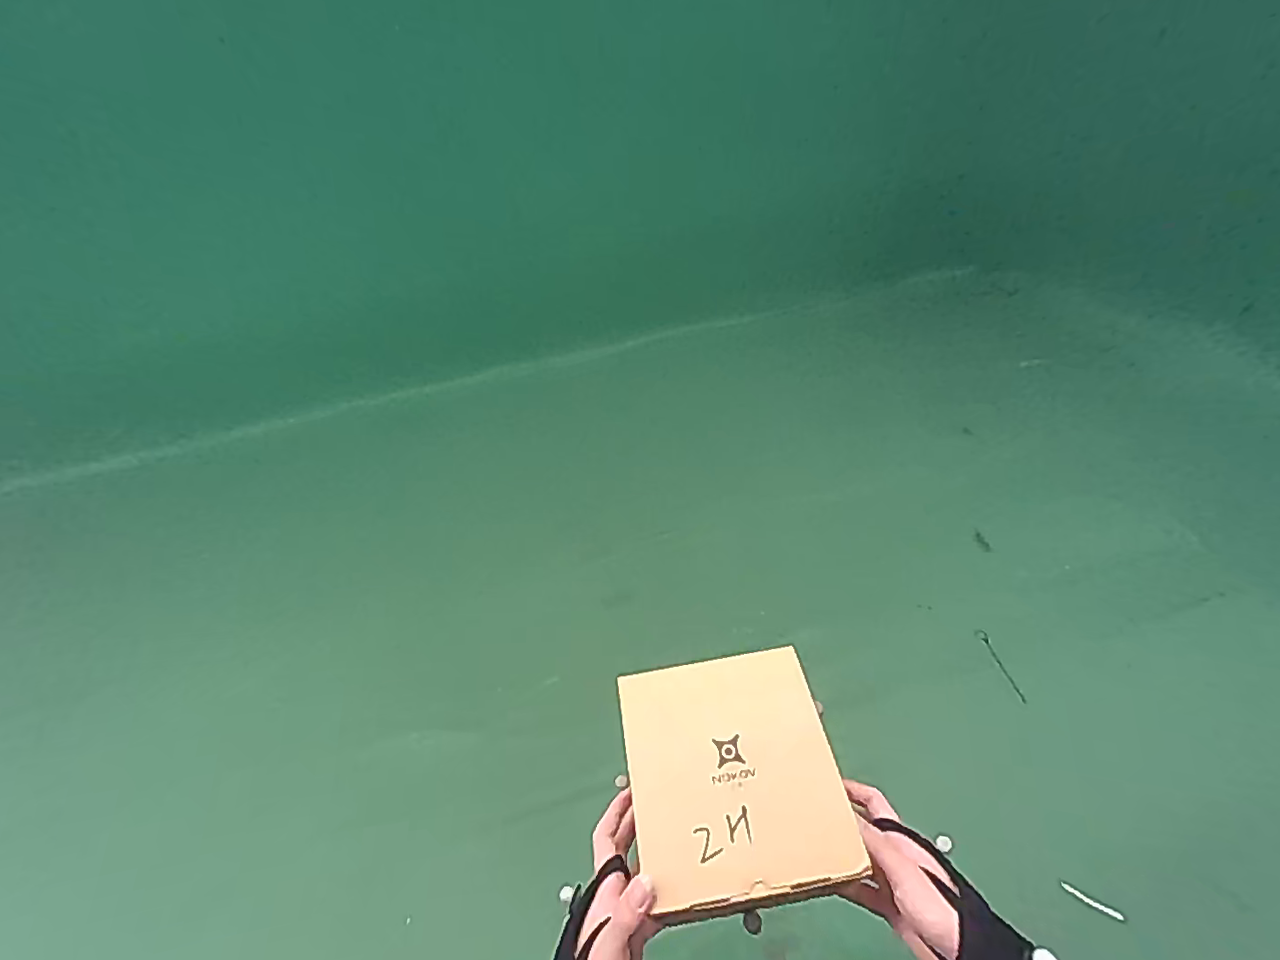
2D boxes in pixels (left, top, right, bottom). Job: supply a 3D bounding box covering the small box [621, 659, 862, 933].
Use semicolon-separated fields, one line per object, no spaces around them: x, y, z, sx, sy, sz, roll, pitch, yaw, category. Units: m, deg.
0.076;0.294;0.502;0.168;0.176;0.179;-9;48;-1;small box
